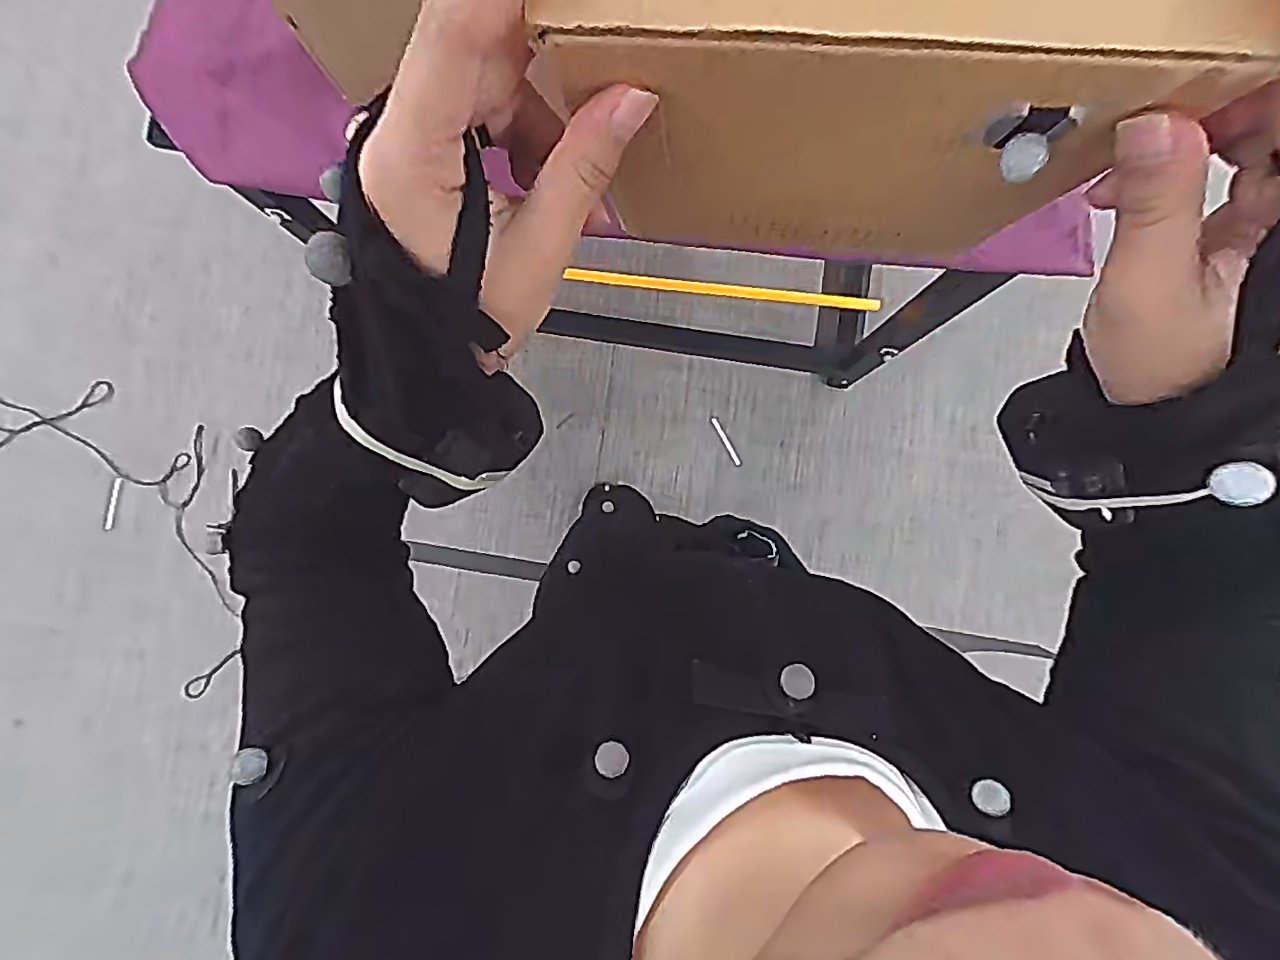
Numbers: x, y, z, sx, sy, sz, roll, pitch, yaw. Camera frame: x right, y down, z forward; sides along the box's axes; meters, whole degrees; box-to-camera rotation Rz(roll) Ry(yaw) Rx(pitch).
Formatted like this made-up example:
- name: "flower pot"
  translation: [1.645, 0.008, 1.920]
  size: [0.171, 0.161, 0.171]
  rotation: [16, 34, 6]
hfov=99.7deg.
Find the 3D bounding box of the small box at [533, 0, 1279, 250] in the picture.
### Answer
- name: "small box"
  translation: [0.075, -0.191, 0.191]
  size: [0.179, 0.176, 0.168]
  rotation: [6, 99, 5]
